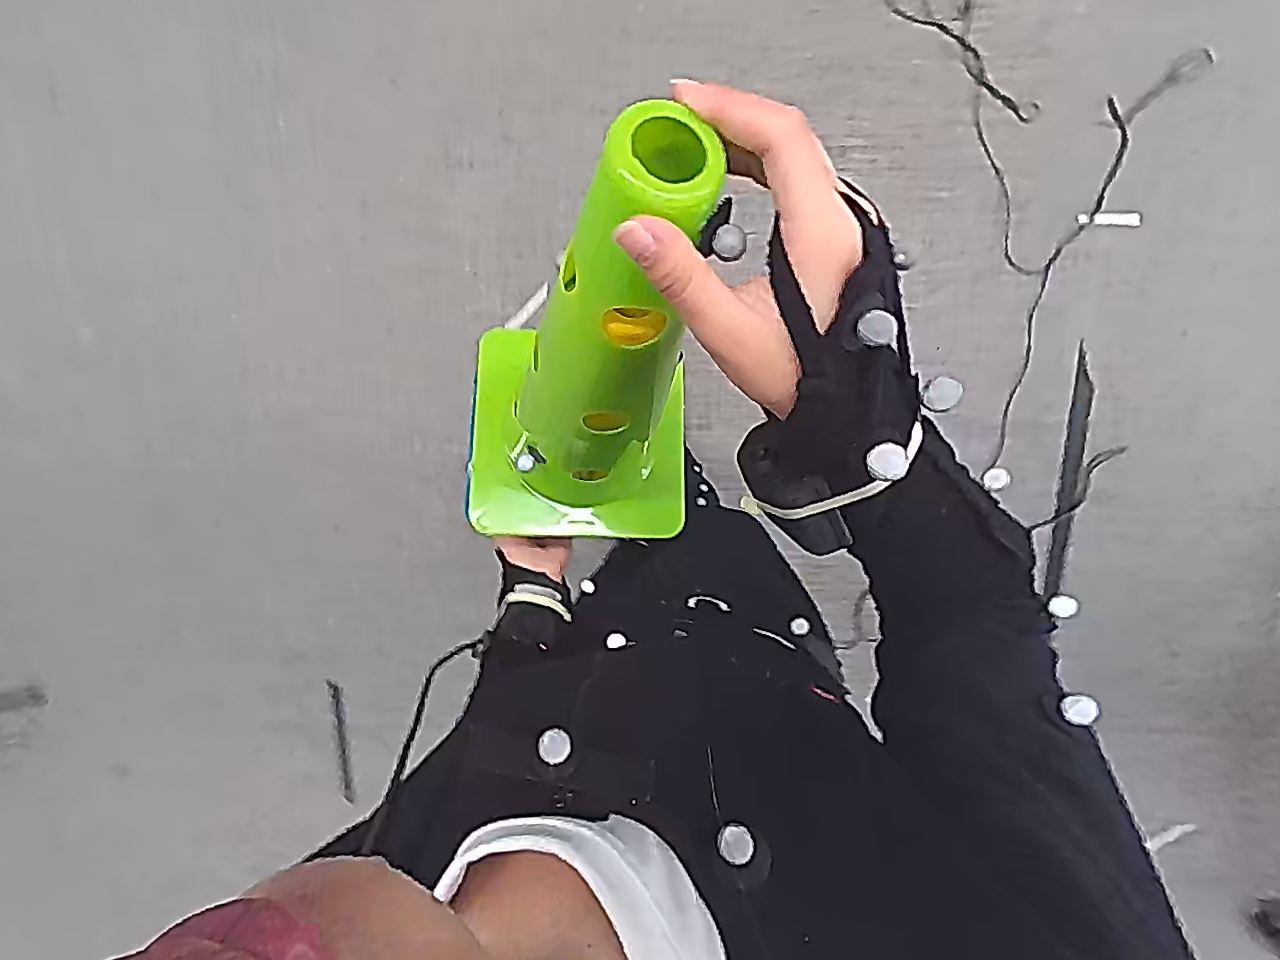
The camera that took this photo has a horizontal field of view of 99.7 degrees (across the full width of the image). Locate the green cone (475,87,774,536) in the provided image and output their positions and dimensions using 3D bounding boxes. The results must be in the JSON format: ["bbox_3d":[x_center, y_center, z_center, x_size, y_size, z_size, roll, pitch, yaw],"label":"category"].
[{"bbox_3d":[-0.015,-0.077,0.336,0.200,0.368,0.202,2,80,-10],"label":"green cone"}]
